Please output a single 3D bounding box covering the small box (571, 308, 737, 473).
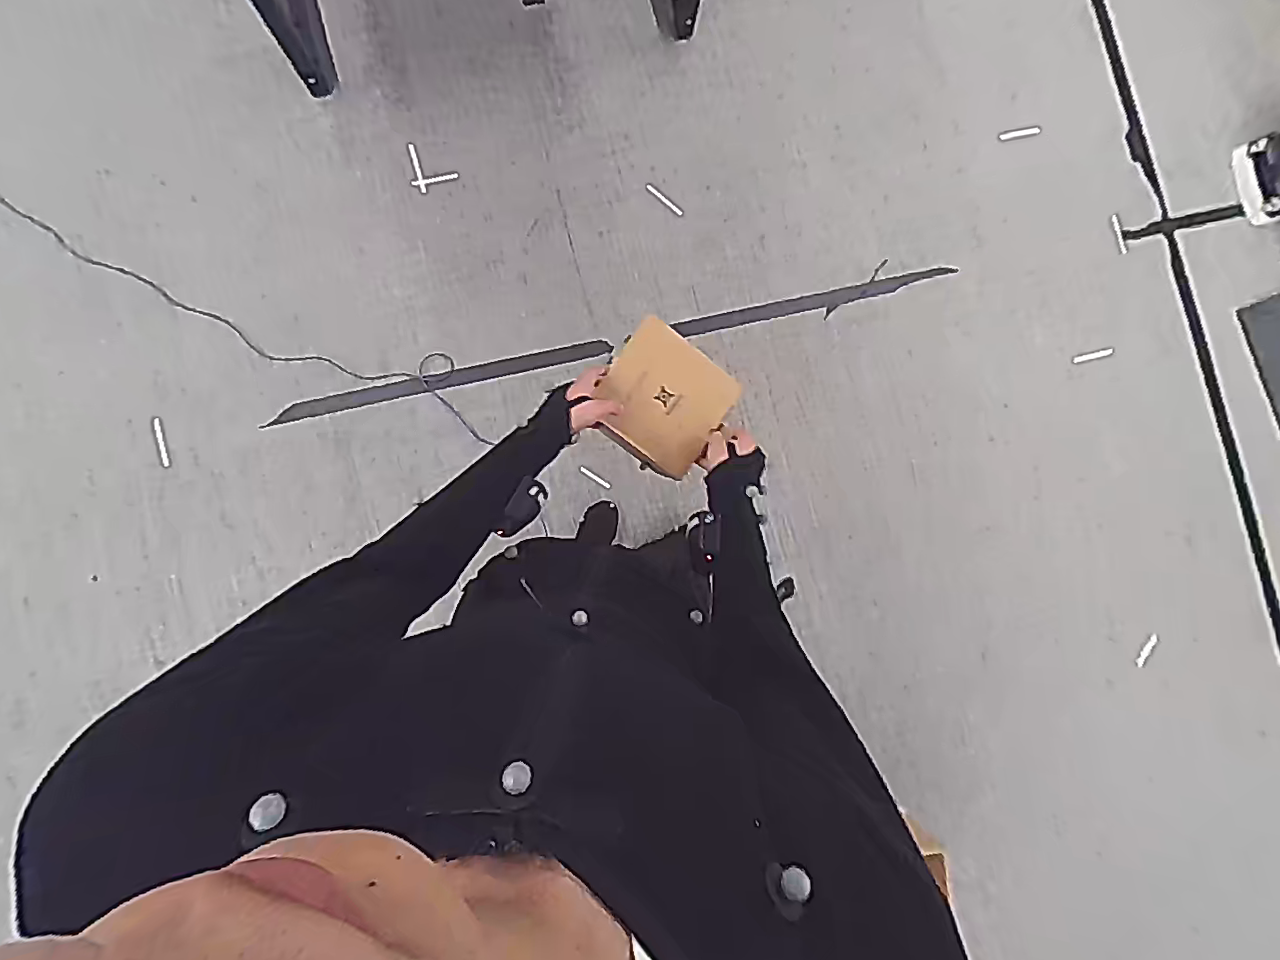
[{"bbox_3d":[0.011,-0.131,0.827,0.179,0.176,0.168,34,88,-12],"label":"small box"}]
